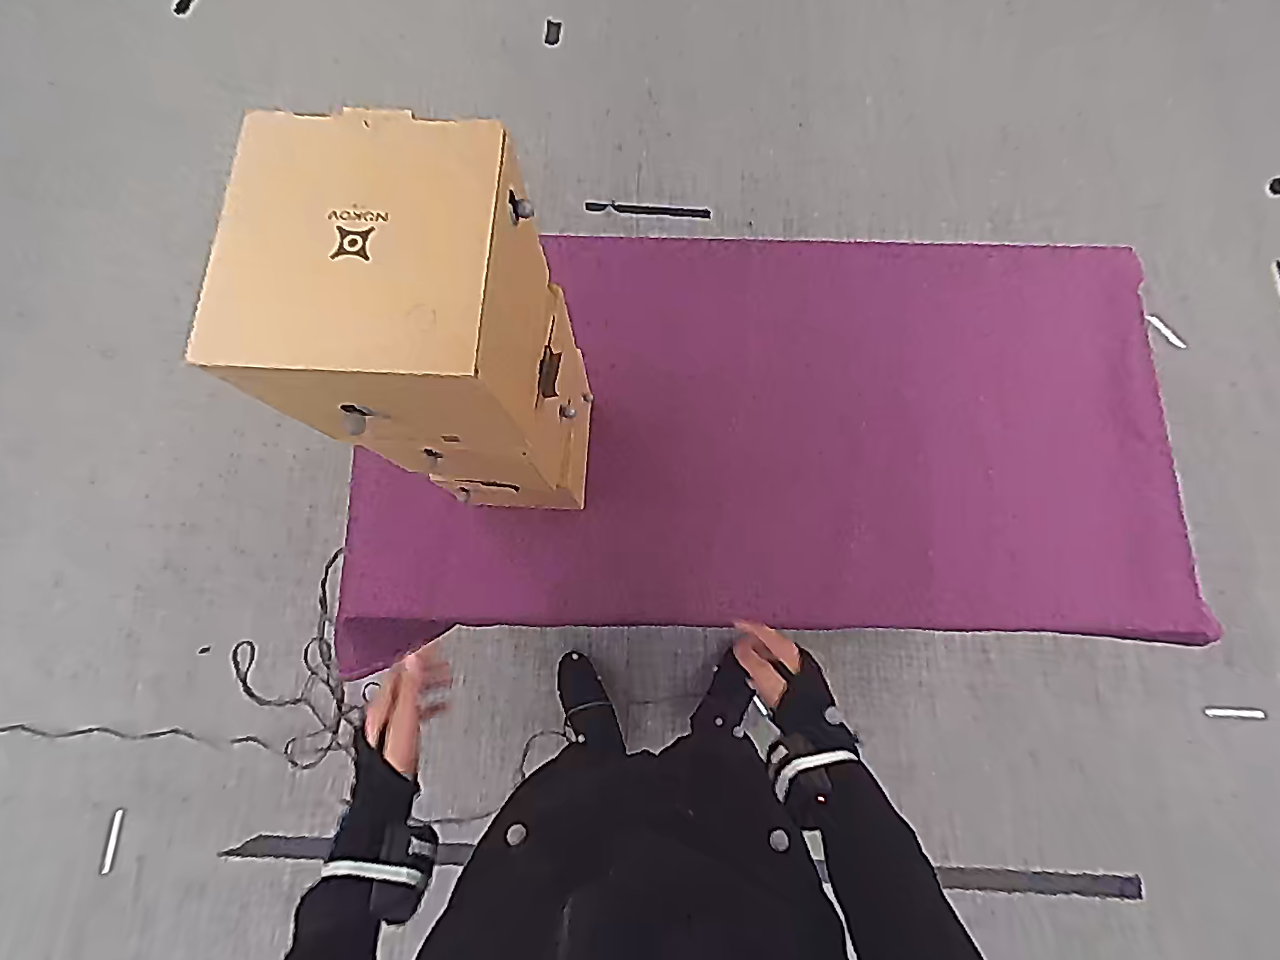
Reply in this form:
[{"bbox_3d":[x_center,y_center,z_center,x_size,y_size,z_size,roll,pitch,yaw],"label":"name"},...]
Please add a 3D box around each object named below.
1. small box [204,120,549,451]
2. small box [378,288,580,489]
[{"bbox_3d":[-0.167,-0.126,0.407,0.168,0.176,0.179,3,76,0],"label":"small box"},{"bbox_3d":[-0.169,-0.094,0.566,0.179,0.176,0.168,9,78,1],"label":"small box"}]
